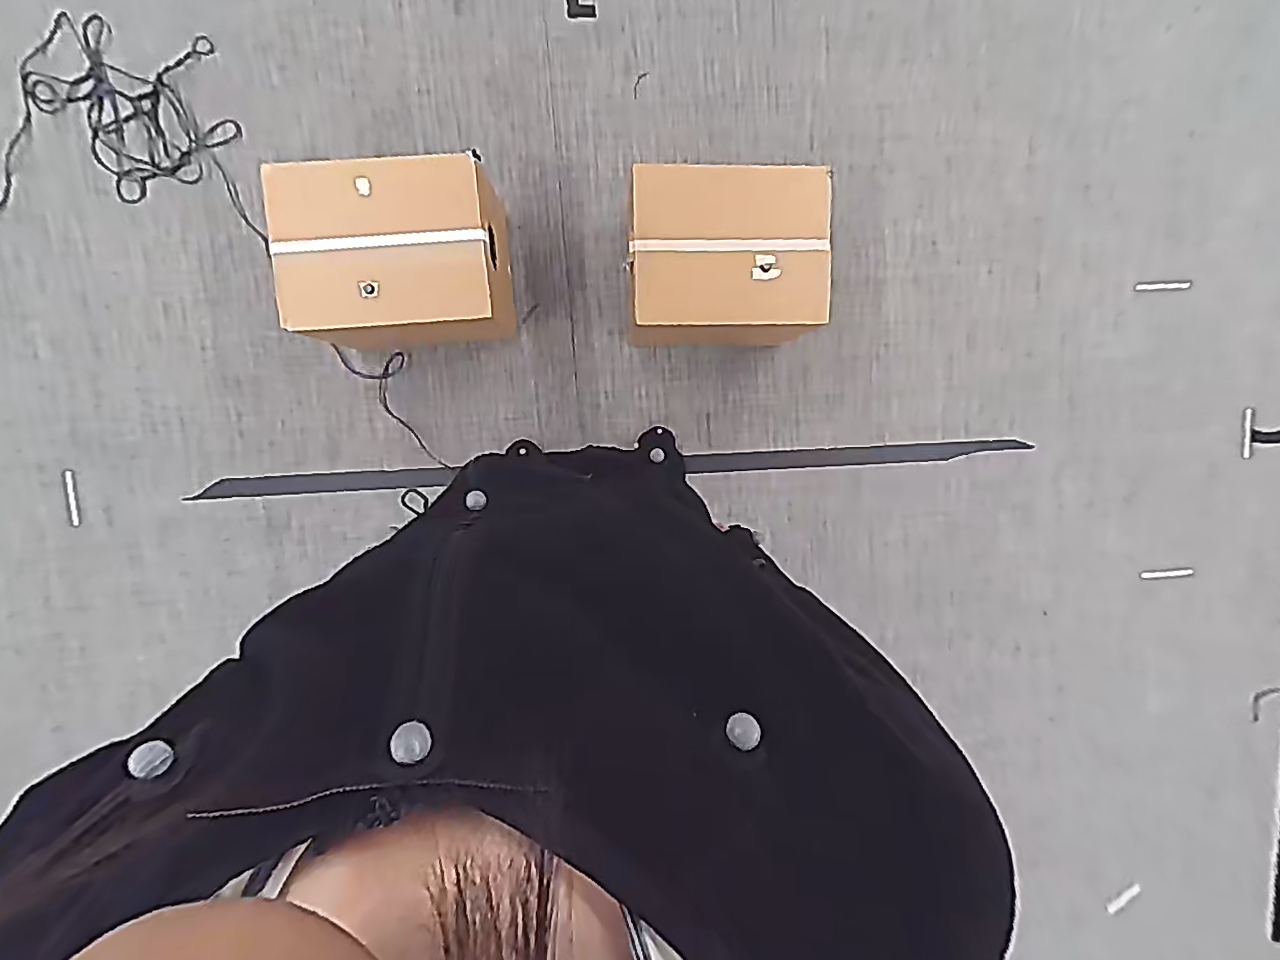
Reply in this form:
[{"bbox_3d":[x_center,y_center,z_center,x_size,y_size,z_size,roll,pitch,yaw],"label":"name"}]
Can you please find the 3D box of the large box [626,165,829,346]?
[{"bbox_3d":[0.178,-0.492,1.249,0.408,0.320,0.320,-1,96,-4],"label":"large box"}]
